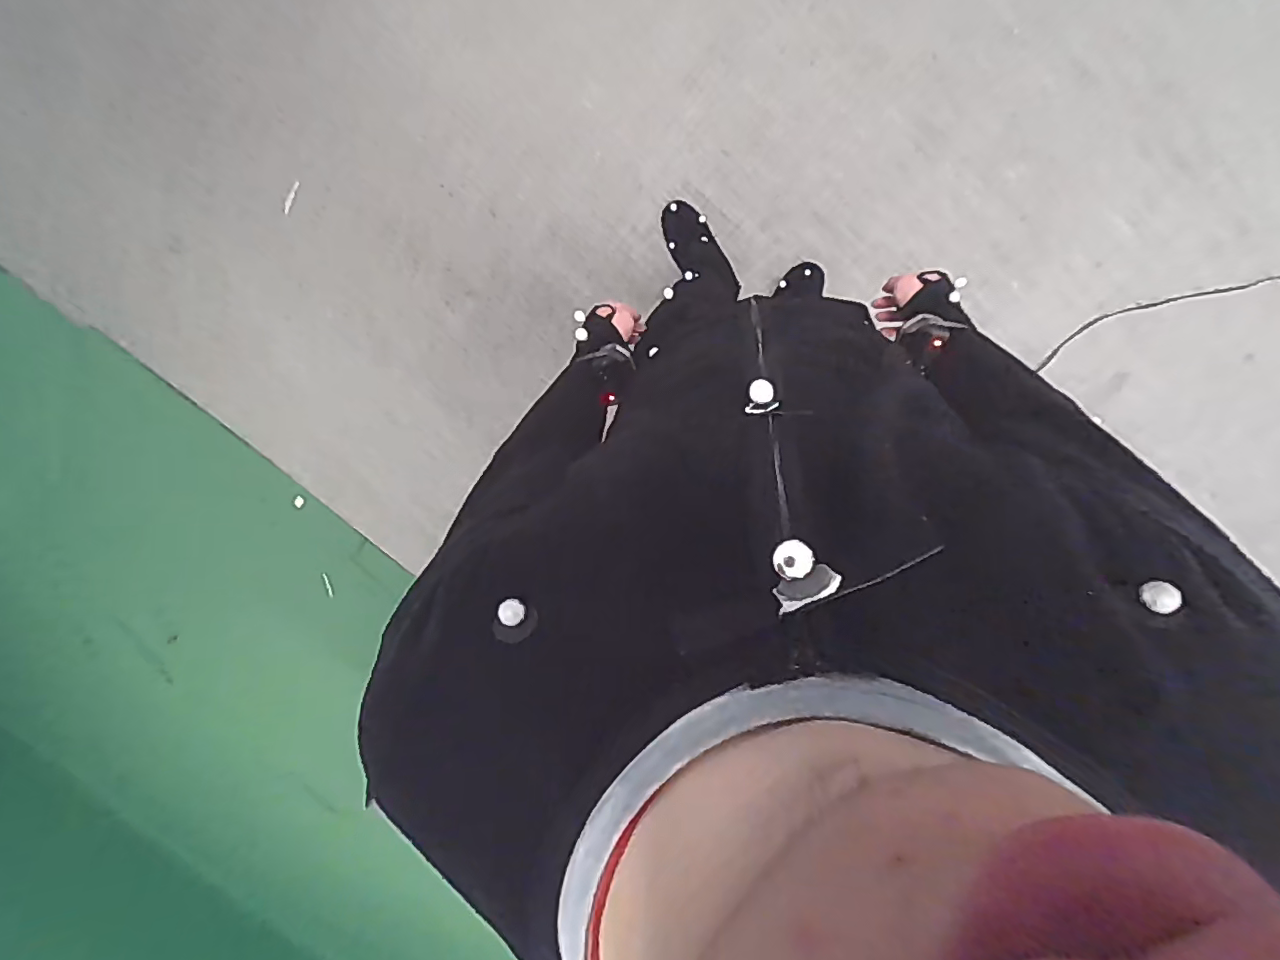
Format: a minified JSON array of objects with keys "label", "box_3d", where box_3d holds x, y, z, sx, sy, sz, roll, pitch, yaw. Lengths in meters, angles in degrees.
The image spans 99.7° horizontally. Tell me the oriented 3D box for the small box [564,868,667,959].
[{"label":"small box","box_3d":[-0.050,1.077,1.296,0.168,0.176,0.179,40,118,-7]}]
